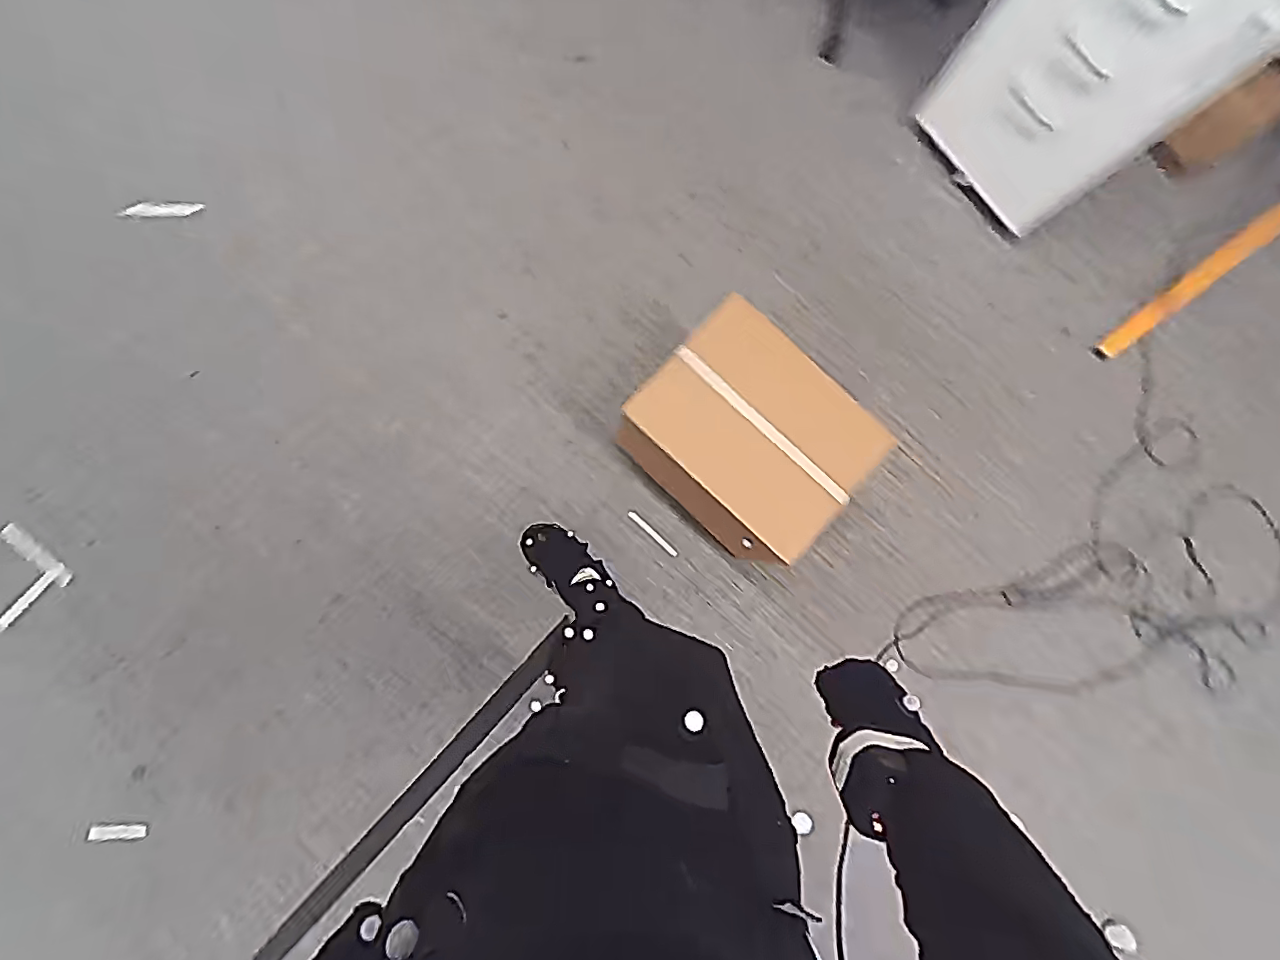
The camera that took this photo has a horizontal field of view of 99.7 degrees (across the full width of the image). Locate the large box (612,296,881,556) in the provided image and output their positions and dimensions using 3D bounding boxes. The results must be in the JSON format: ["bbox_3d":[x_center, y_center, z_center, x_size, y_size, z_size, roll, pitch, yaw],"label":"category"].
[{"bbox_3d":[0.190,-0.087,1.127,0.408,0.320,0.320,43,81,0],"label":"large box"}]
